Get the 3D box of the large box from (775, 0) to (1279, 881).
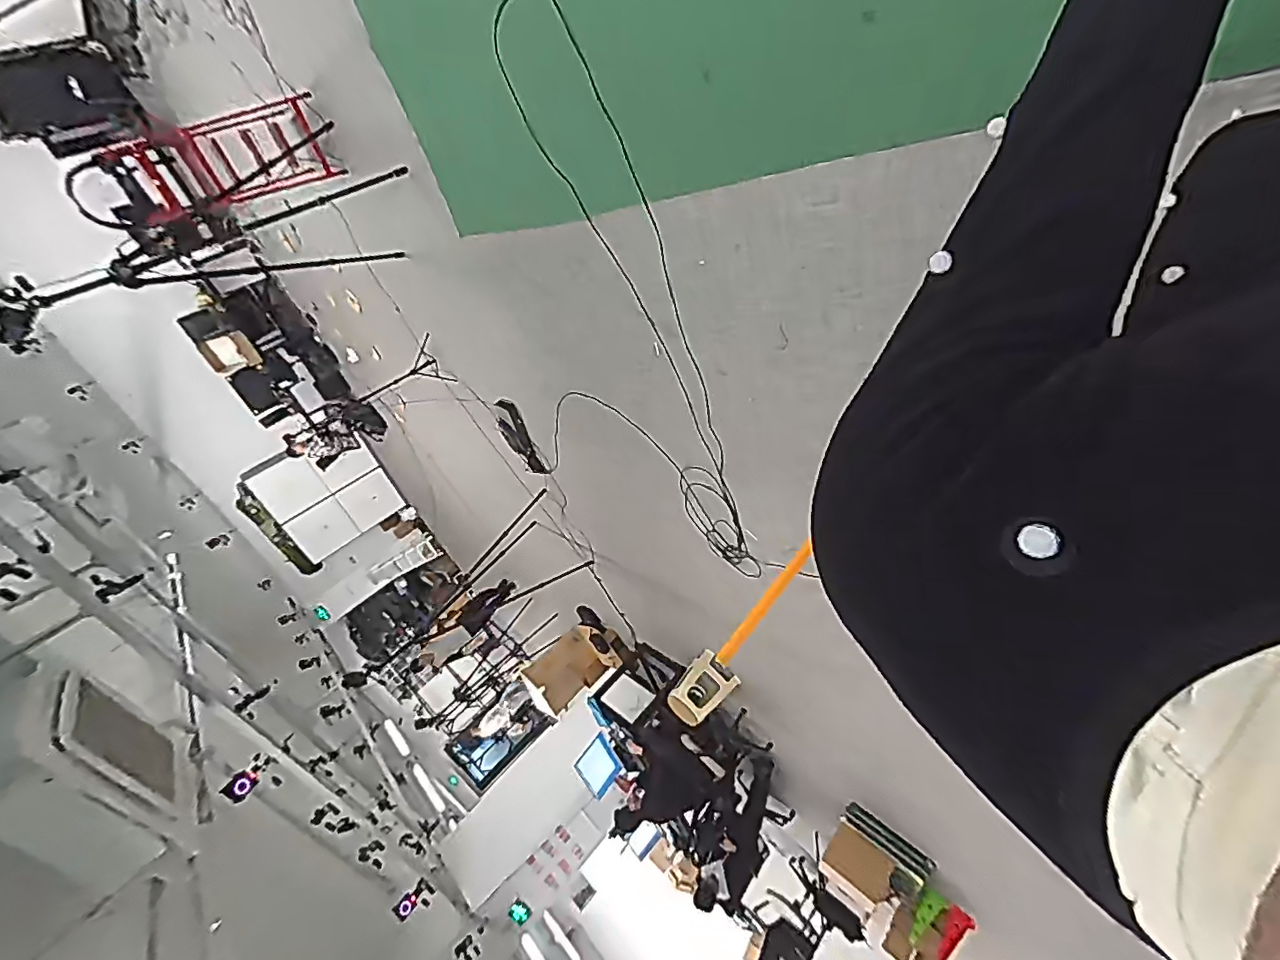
[{"bbox_3d":[0.307,0.004,0.197,0.408,0.320,0.320,33,-177,12],"label":"large box"}]
